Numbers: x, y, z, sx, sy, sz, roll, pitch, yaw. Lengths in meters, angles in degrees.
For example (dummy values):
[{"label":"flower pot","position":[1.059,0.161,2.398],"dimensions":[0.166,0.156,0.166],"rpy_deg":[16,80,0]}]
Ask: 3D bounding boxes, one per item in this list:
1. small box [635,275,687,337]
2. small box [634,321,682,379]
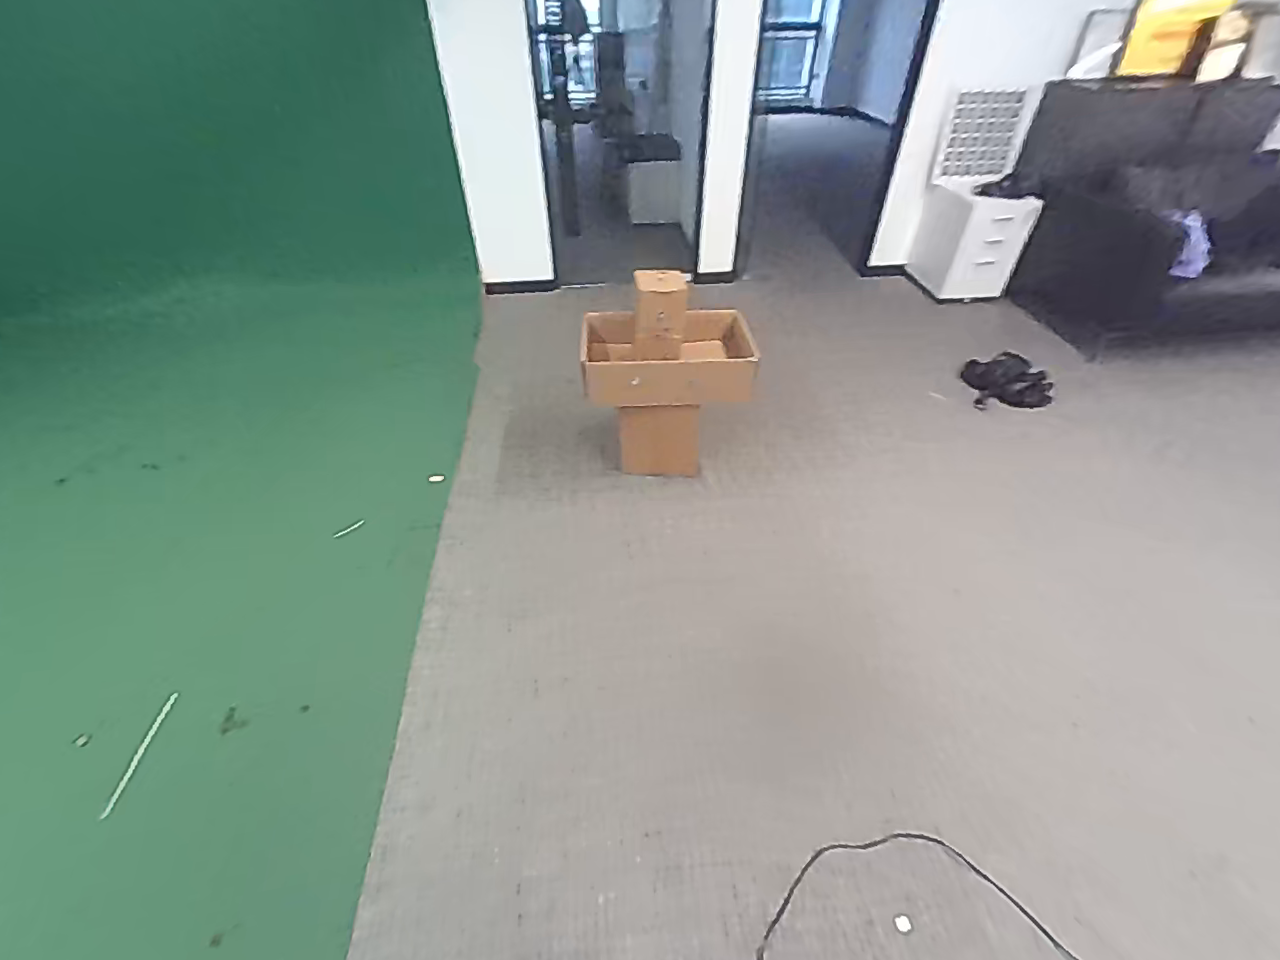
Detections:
[{"label":"small box","position":[0.072,-0.623,1.943],"dimensions":[0.168,0.176,0.179],"rpy_deg":[-2,42,-6]},{"label":"small box","position":[0.064,-0.495,2.045],"dimensions":[0.168,0.176,0.179],"rpy_deg":[0,39,-5]}]
